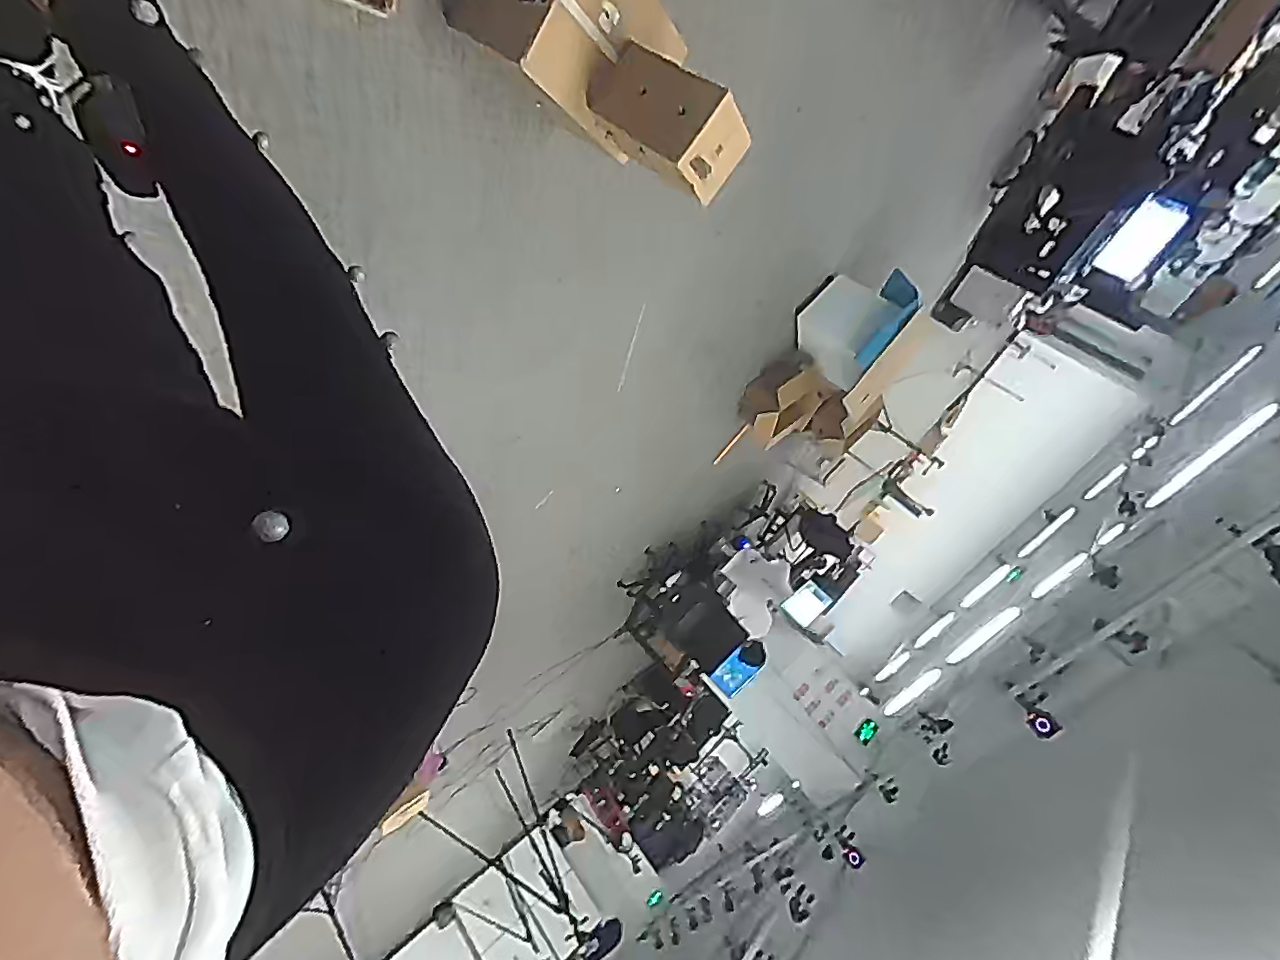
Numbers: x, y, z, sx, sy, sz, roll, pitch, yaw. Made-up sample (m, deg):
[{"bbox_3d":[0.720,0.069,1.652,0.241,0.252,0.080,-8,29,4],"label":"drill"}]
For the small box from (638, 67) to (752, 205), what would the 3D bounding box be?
[{"bbox_3d":[0.117,-0.777,1.225,0.179,0.176,0.168,-51,155,13],"label":"small box"}]

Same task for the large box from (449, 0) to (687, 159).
[{"bbox_3d":[-0.163,-1.078,1.306,0.320,0.320,0.408,-55,153,18],"label":"large box"}]

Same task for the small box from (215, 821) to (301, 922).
[{"bbox_3d":[-1.150,1.177,1.634,0.168,0.176,0.179,-22,147,-41],"label":"small box"}]

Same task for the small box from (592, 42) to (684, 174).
[{"bbox_3d":[0.018,-0.888,1.294,0.179,0.176,0.168,-50,155,14],"label":"small box"}]
